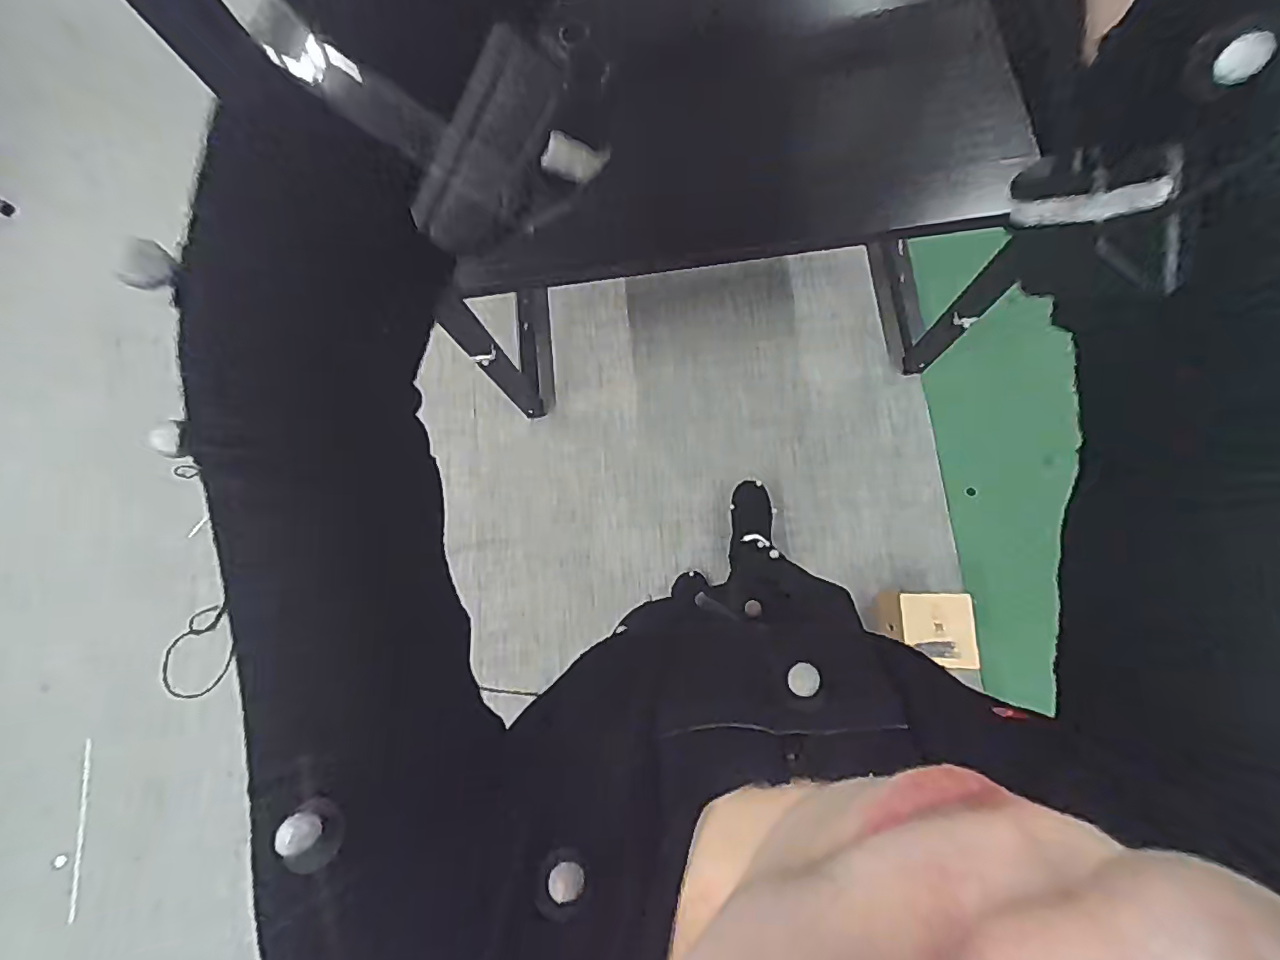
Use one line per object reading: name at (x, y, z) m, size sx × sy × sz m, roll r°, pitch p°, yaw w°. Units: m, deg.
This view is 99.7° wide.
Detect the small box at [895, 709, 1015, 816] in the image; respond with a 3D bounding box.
small box at (0.731, 0.655, 1.277) m, size 0.168 × 0.176 × 0.179 m, roll -13°, pitch 78°, yaw 4°
